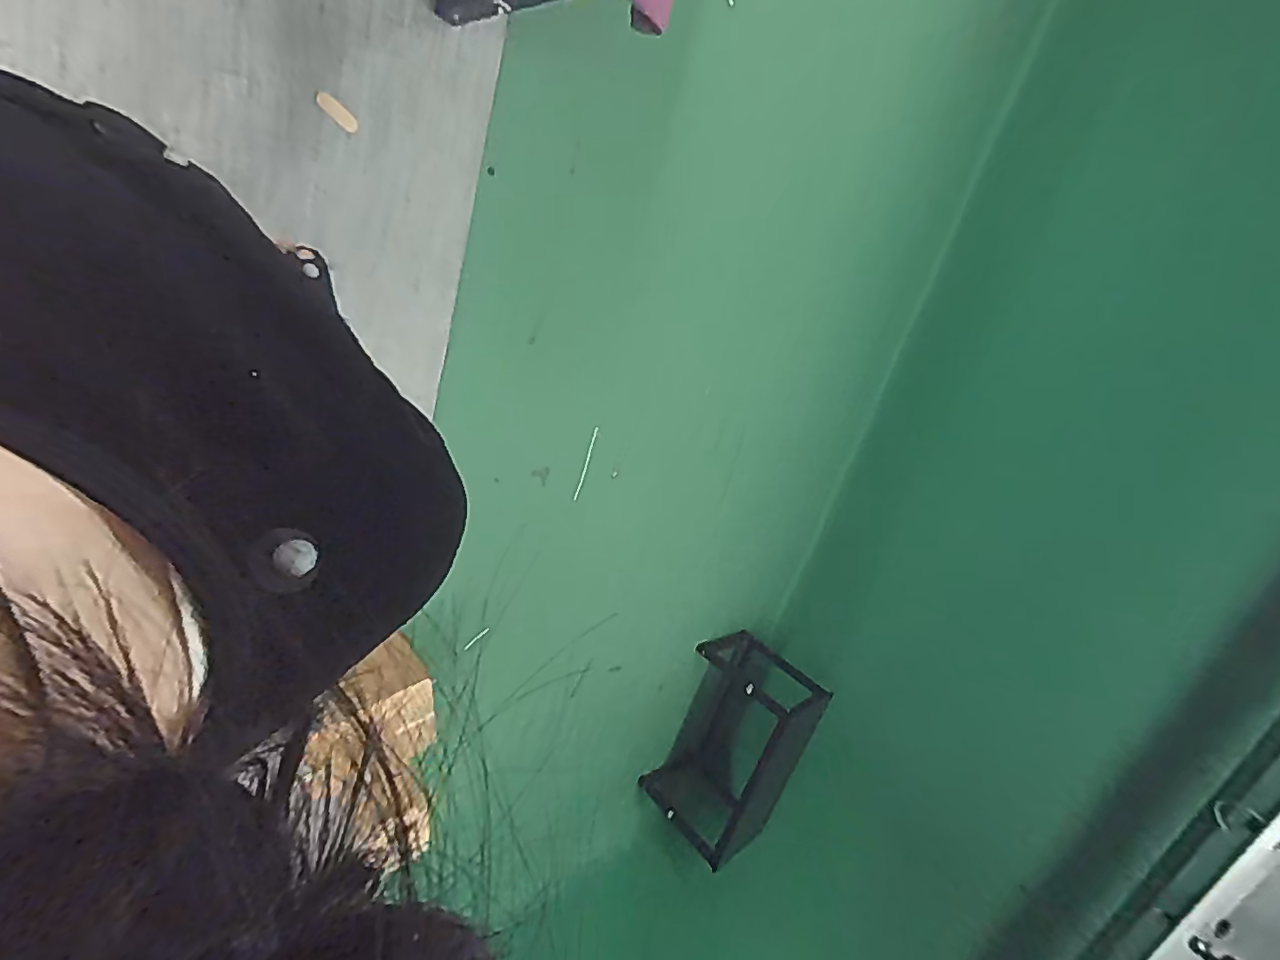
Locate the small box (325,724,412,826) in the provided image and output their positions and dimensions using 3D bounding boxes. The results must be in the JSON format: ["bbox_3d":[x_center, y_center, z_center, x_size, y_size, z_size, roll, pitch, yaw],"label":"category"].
[{"bbox_3d":[-0.765,0.832,1.528,0.179,0.176,0.168,-13,122,-41],"label":"small box"}]

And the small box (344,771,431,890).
[{"bbox_3d":[-0.665,0.904,1.420,0.168,0.176,0.179,-12,121,-42],"label":"small box"}]

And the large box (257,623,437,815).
[{"bbox_3d":[-0.907,0.724,1.700,0.408,0.320,0.320,-18,128,-40],"label":"large box"}]
